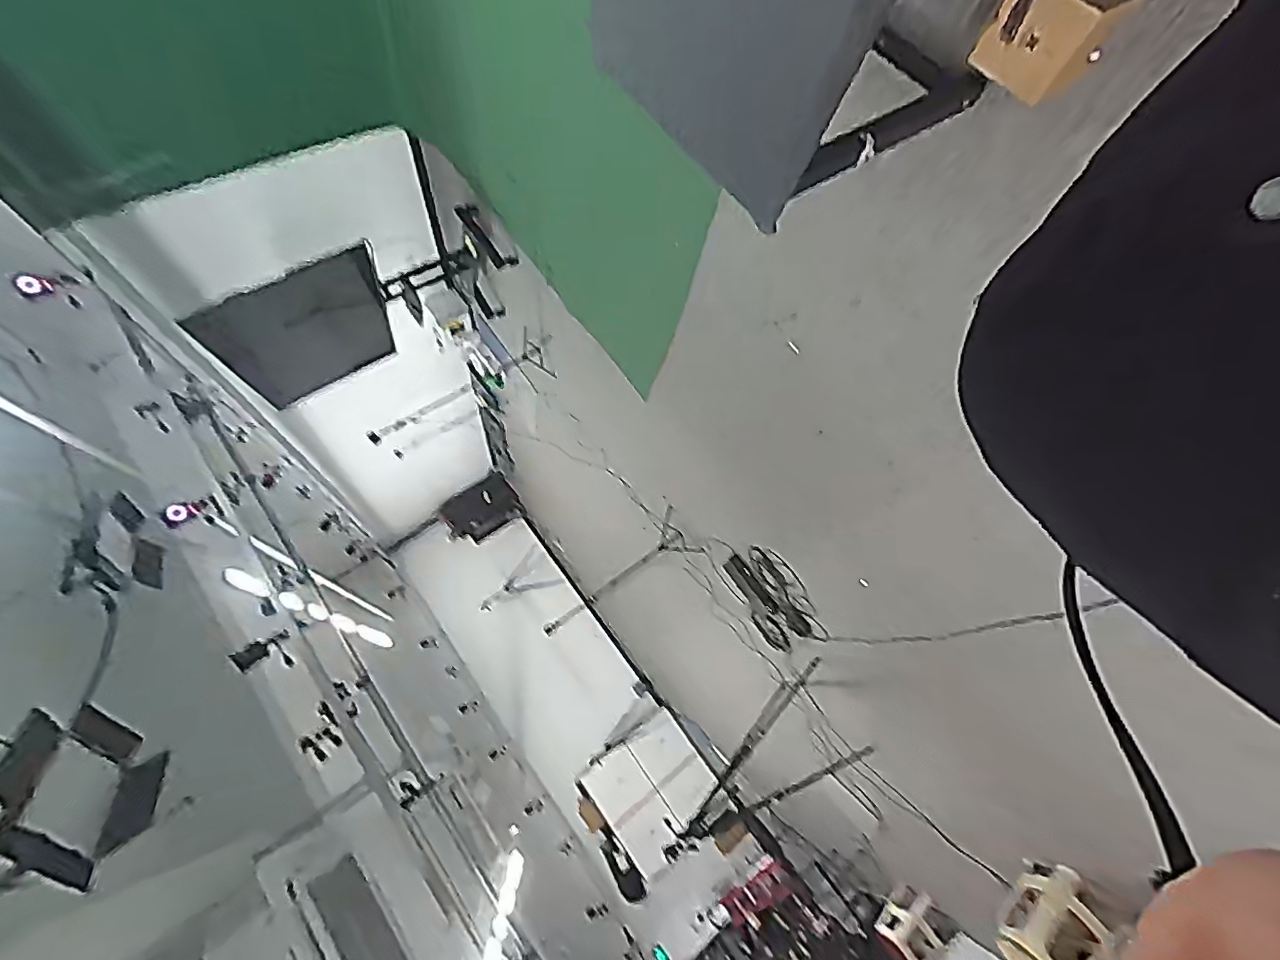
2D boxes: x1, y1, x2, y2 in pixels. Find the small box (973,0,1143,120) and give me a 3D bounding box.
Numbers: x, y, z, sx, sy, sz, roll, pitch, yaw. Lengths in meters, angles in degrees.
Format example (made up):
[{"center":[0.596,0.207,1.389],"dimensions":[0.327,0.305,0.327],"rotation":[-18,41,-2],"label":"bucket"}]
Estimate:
[{"center":[0.830,-0.872,1.082],"dimensions":[0.179,0.176,0.168],"rotation":[49,159,15],"label":"small box"}]
